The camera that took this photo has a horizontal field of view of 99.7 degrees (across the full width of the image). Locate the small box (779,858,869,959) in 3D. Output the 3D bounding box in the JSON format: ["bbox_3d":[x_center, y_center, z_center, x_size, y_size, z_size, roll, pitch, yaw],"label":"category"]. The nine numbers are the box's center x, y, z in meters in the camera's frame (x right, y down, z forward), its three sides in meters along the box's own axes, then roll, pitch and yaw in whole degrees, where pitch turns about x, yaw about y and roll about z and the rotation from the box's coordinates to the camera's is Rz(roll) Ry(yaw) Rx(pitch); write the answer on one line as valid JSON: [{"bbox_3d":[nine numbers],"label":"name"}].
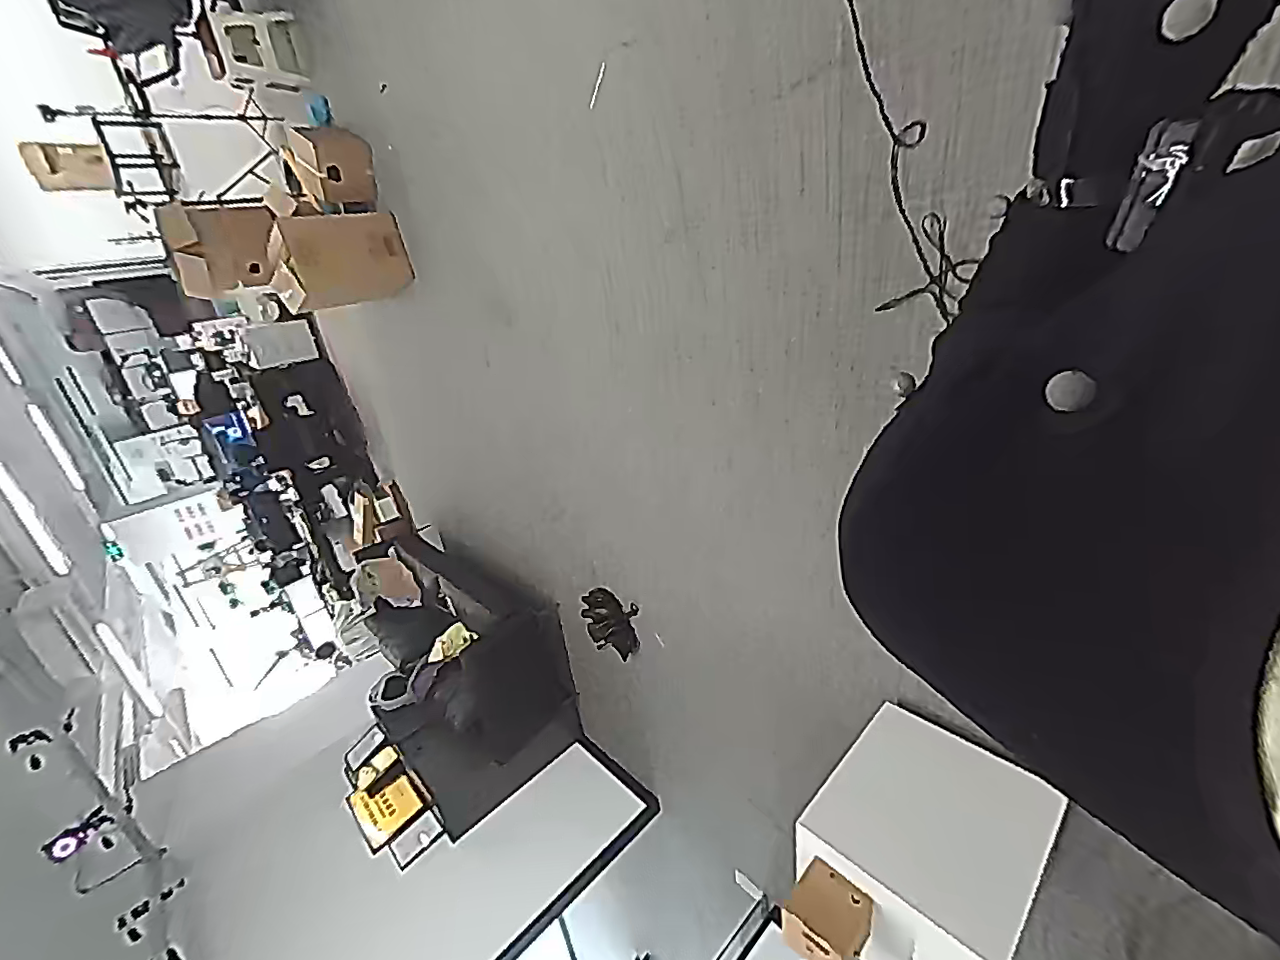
[{"bbox_3d":[0.479,1.146,1.407,0.168,0.176,0.179,18,125,44],"label":"small box"}]
